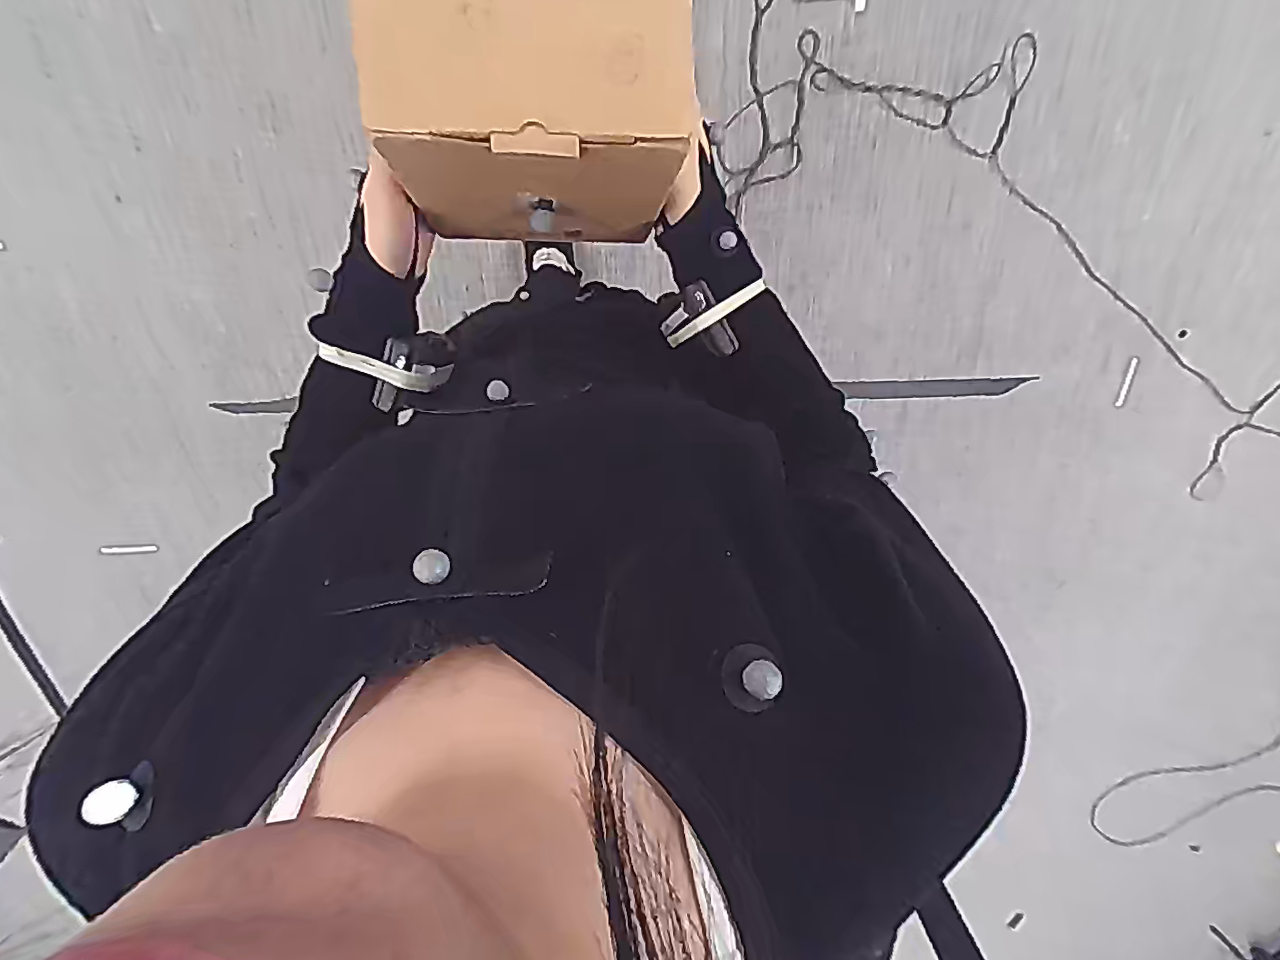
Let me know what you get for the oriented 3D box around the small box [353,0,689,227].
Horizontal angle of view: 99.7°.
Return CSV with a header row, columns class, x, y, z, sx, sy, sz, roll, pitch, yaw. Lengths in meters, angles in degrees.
class,x,y,z,sx,sy,sz,roll,pitch,yaw
small box,-0.065,-0.272,0.339,0.168,0.176,0.179,-2,99,-8
